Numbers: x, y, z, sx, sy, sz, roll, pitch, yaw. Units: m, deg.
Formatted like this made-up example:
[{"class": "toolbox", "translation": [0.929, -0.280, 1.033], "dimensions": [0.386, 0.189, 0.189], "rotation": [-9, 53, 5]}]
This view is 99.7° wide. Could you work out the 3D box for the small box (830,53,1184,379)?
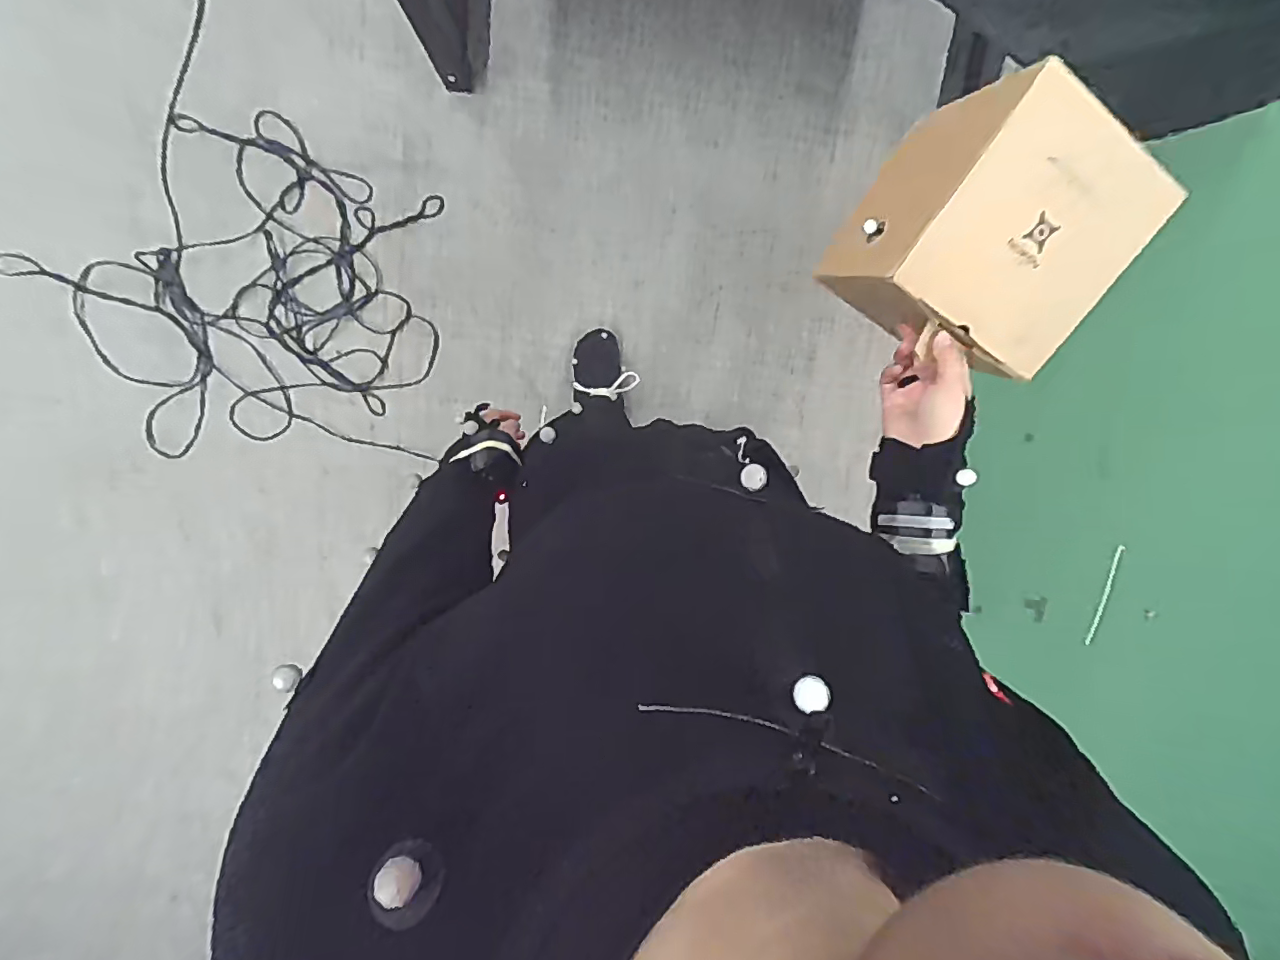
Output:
[{"class": "small box", "translation": [0.302, -0.220, 0.494], "dimensions": [0.168, 0.176, 0.179], "rotation": [28, 106, -15]}]
